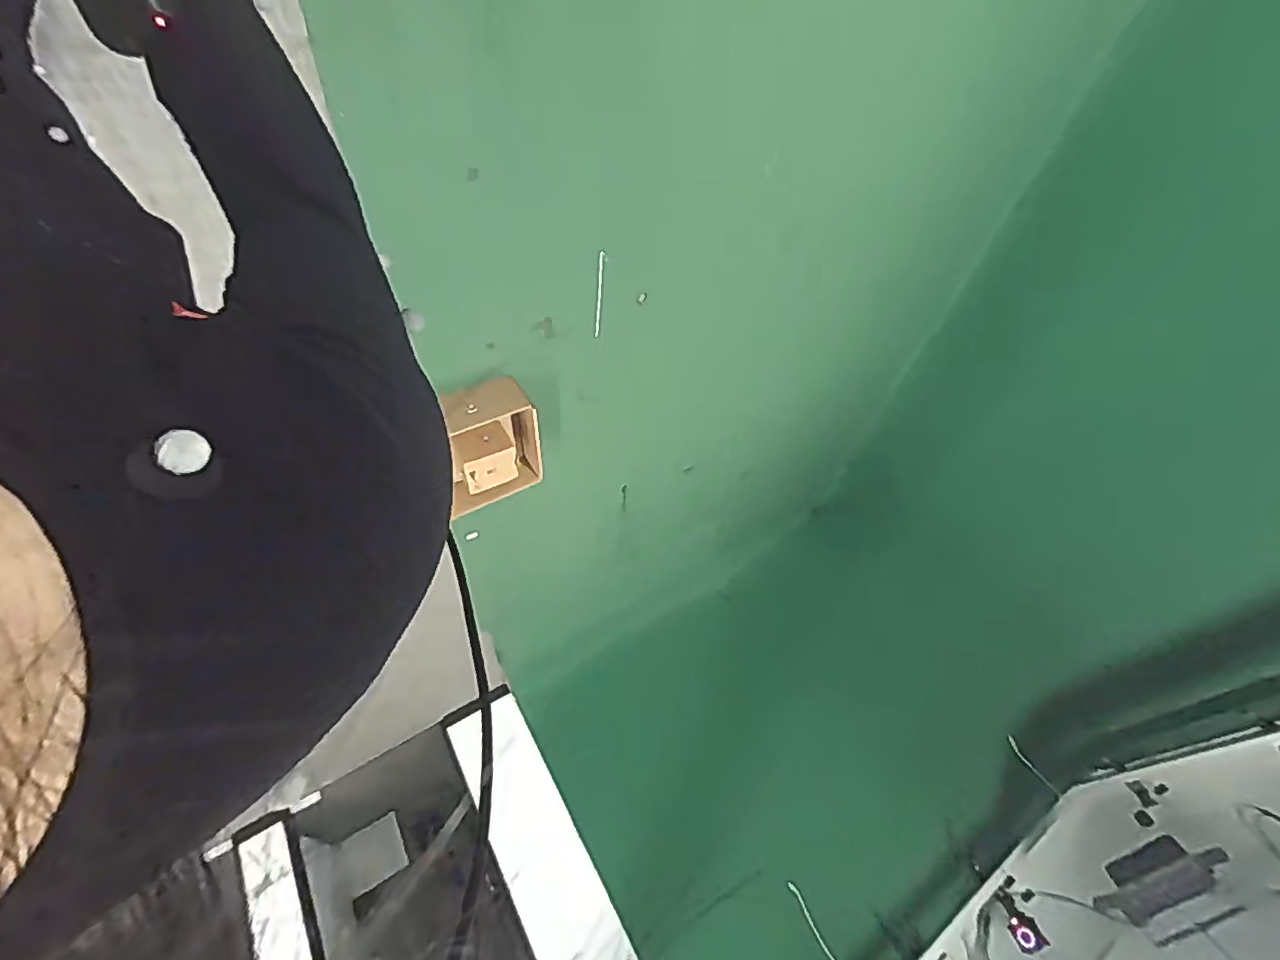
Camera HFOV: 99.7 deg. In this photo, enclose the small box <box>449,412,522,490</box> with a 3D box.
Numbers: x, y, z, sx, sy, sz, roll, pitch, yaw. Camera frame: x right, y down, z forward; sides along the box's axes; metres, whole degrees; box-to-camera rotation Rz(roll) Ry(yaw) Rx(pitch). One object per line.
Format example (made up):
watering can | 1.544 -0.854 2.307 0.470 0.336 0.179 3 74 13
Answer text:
small box | -0.518 -0.102 1.823 0.179 0.176 0.168 -23 149 -22
